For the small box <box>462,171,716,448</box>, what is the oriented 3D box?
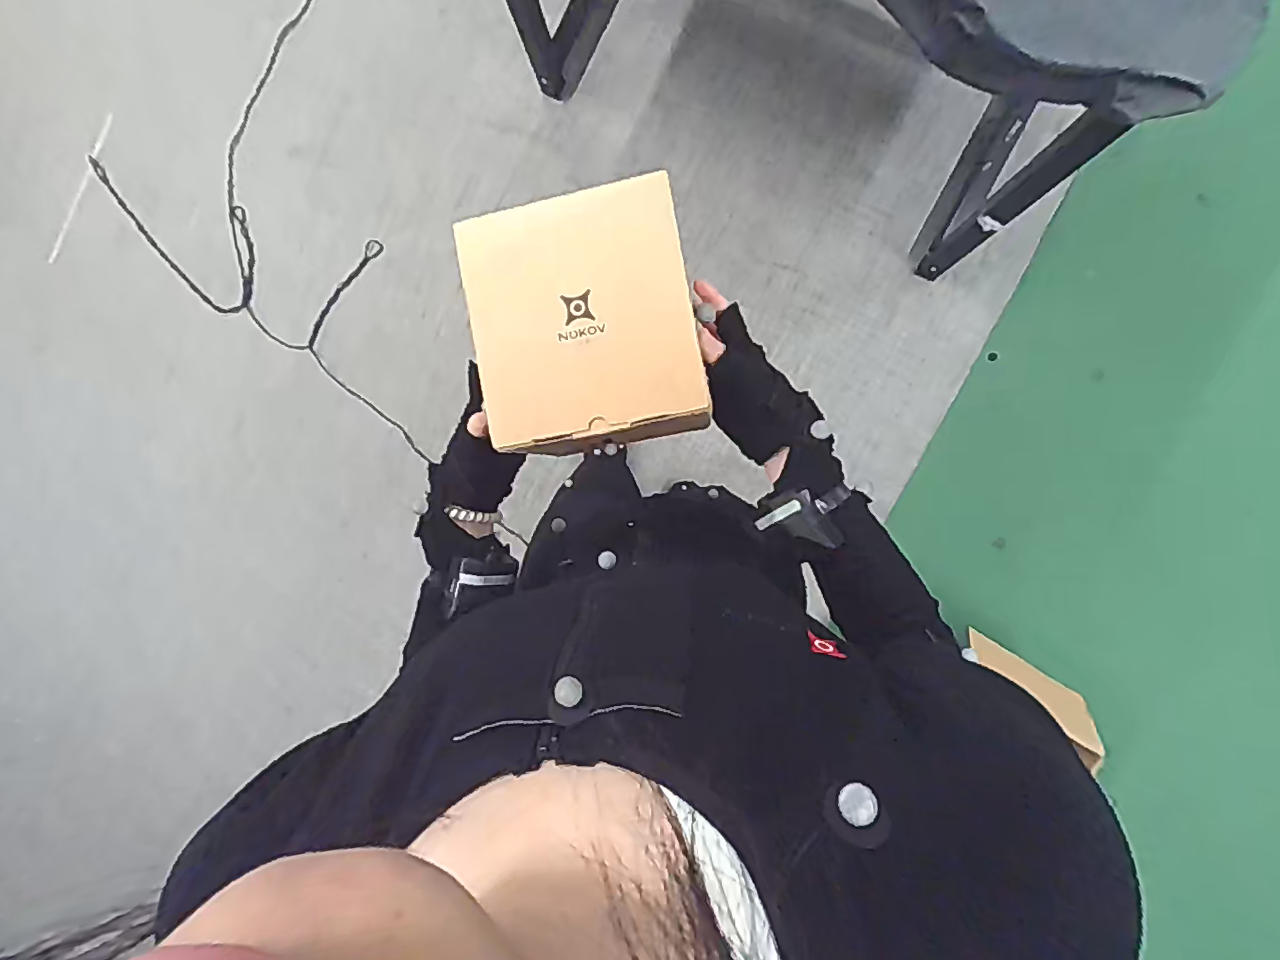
[{"bbox_3d":[-0.033,-0.127,0.475,0.168,0.176,0.179,-11,92,6],"label":"small box"}]
